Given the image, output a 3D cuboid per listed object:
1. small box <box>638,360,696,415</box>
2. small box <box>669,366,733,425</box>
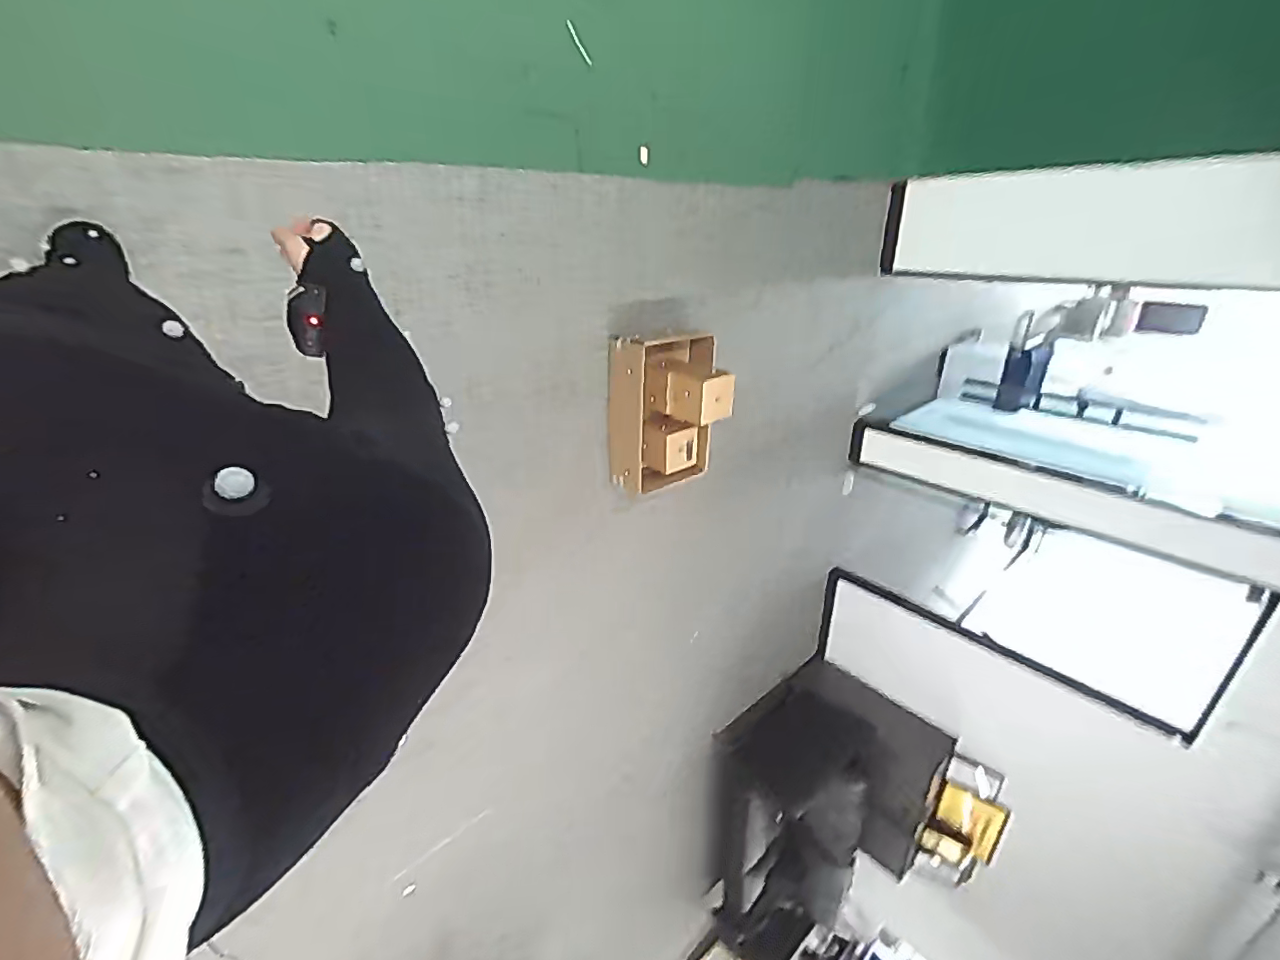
[{"bbox_3d":[0.106,-0.368,2.126,0.179,0.176,0.168,-21,124,-37],"label":"small box"},{"bbox_3d":[0.224,-0.320,2.025,0.179,0.176,0.168,-23,125,-36],"label":"small box"}]
